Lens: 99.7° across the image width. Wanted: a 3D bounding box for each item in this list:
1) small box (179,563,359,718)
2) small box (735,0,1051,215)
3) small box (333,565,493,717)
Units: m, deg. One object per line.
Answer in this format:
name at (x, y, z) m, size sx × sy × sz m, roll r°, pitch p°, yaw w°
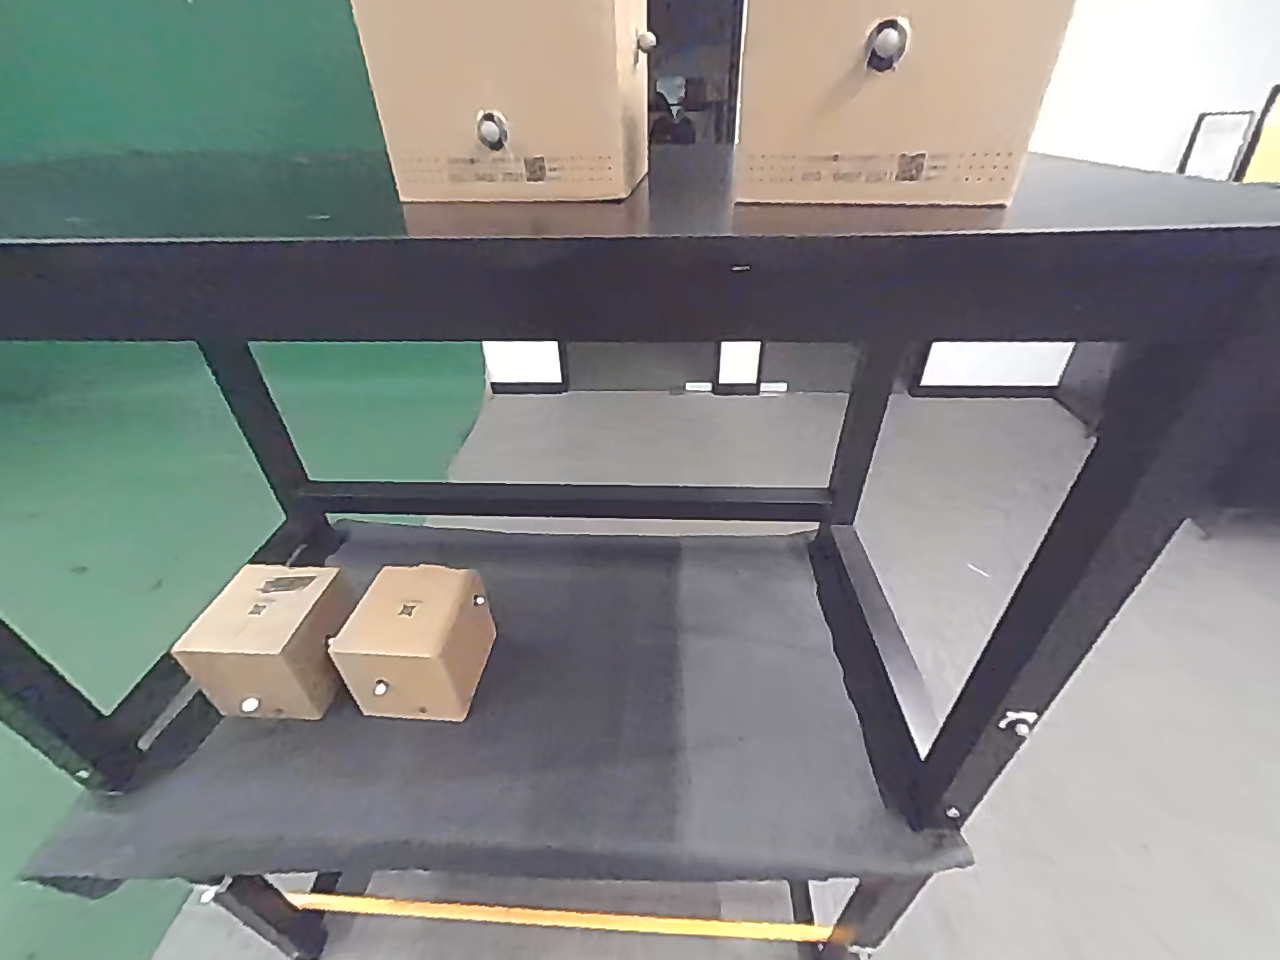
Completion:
small box at (-0.579, 0.260, 0.887) m, size 0.168 × 0.176 × 0.179 m, roll 1°, pitch 36°, yaw 3°
small box at (0.160, -0.287, 0.373) m, size 0.168 × 0.176 × 0.179 m, roll 8°, pitch 36°, yaw 12°
small box at (-0.352, 0.262, 0.882) m, size 0.168 × 0.176 × 0.179 m, roll 2°, pitch 35°, yaw 4°
